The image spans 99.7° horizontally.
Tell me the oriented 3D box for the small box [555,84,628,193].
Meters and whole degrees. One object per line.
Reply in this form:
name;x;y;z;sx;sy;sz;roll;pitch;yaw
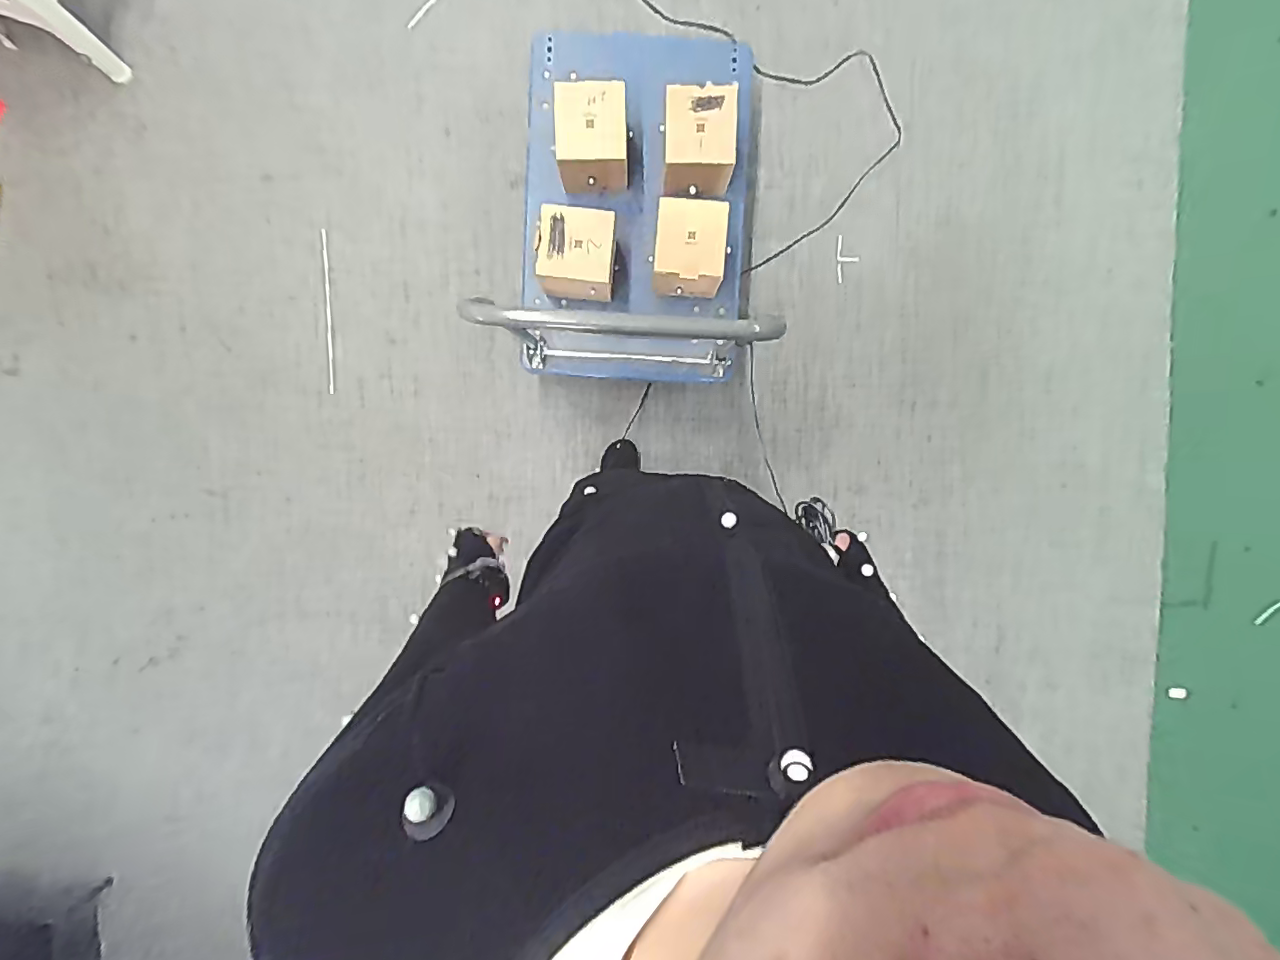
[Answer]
small box;-0.114;-0.824;1.321;0.168;0.176;0.179;0;94;-1

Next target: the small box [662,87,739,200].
small box;0.142;-0.816;1.323;0.168;0.176;0.179;2;95;0

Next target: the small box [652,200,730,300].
small box;0.120;-0.563;1.340;0.168;0.176;0.179;5;94;-1
